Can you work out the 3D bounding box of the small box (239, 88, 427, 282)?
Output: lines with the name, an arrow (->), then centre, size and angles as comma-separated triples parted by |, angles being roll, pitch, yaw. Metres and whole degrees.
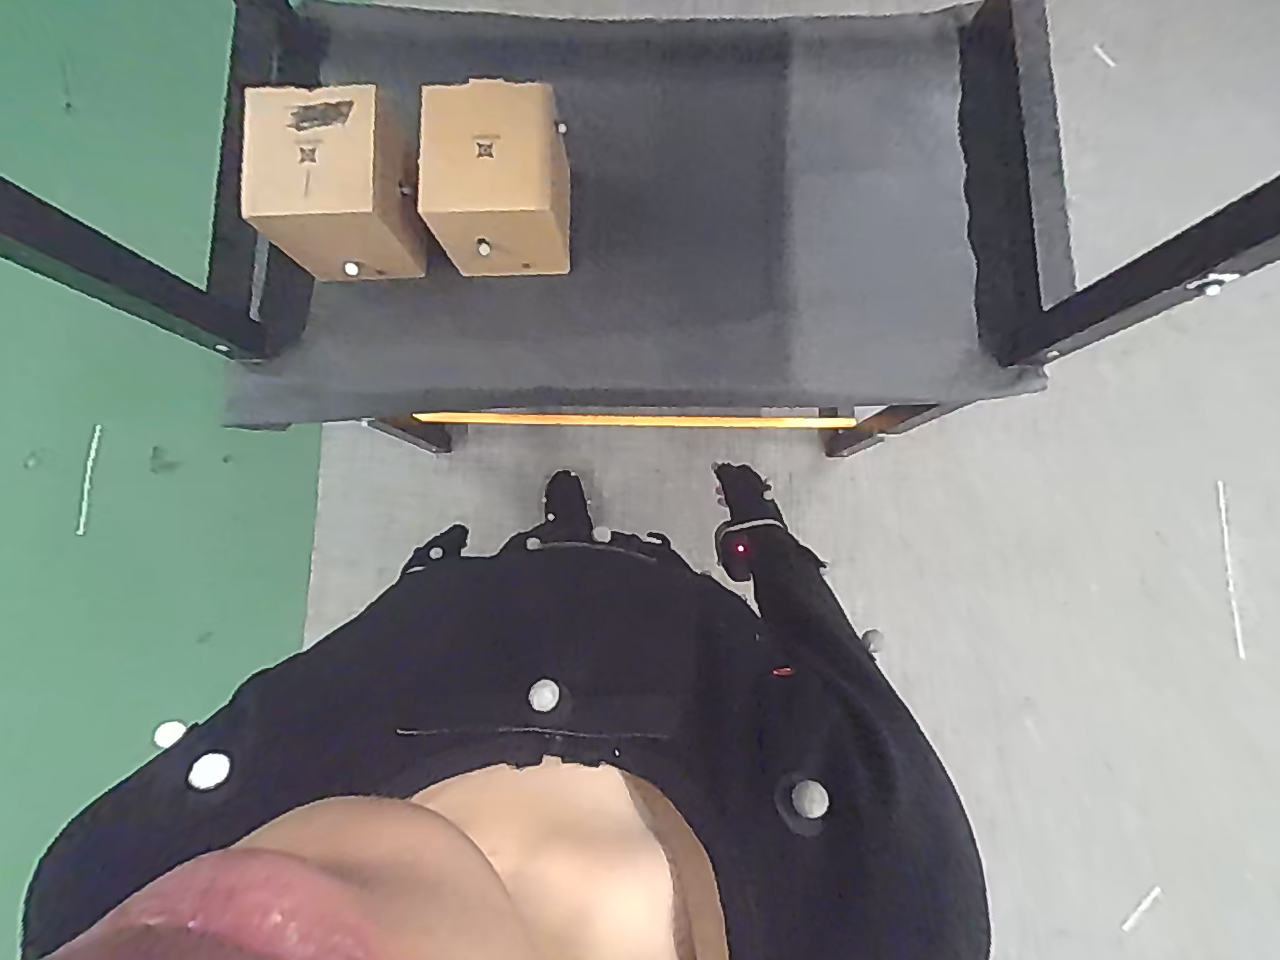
small box -> -0.411, -0.398, 0.752 | 0.168, 0.176, 0.179 | -2, 83, 1
